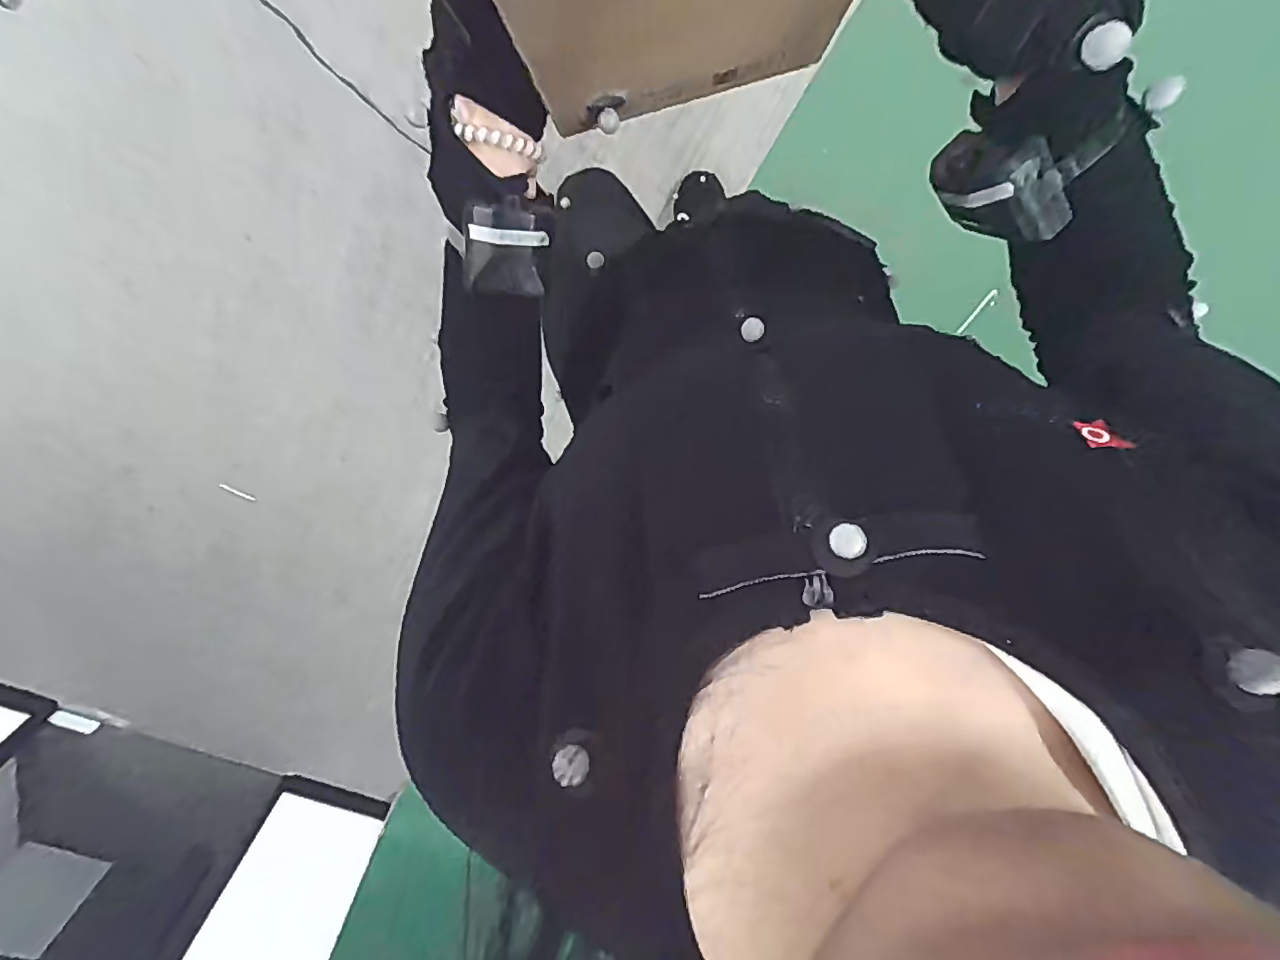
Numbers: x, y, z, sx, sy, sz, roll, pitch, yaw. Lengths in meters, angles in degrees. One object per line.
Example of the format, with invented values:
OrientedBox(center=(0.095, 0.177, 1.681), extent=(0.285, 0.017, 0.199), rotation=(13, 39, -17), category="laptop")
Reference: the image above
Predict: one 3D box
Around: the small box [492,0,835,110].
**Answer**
OrientedBox(center=(0.005, -0.298, 0.238), extent=(0.168, 0.176, 0.179), rotation=(-13, 102, 6), category="small box")
